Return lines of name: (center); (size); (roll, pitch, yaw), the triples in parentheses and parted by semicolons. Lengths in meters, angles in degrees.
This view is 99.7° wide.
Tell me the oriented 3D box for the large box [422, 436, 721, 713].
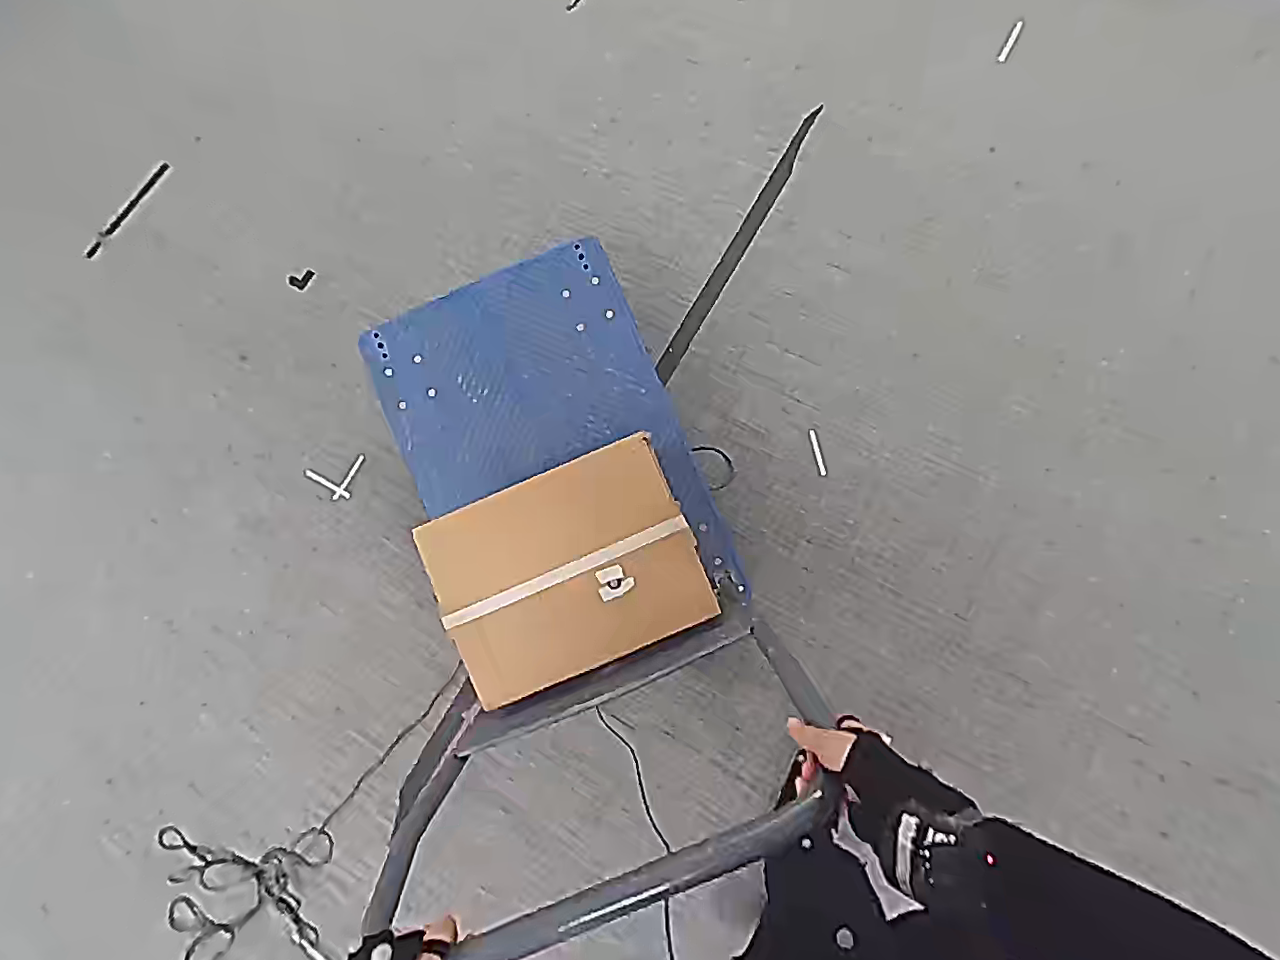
large box: (-0.109, 0.158, 1.004); (0.408, 0.320, 0.320); (-24, 87, 0)
